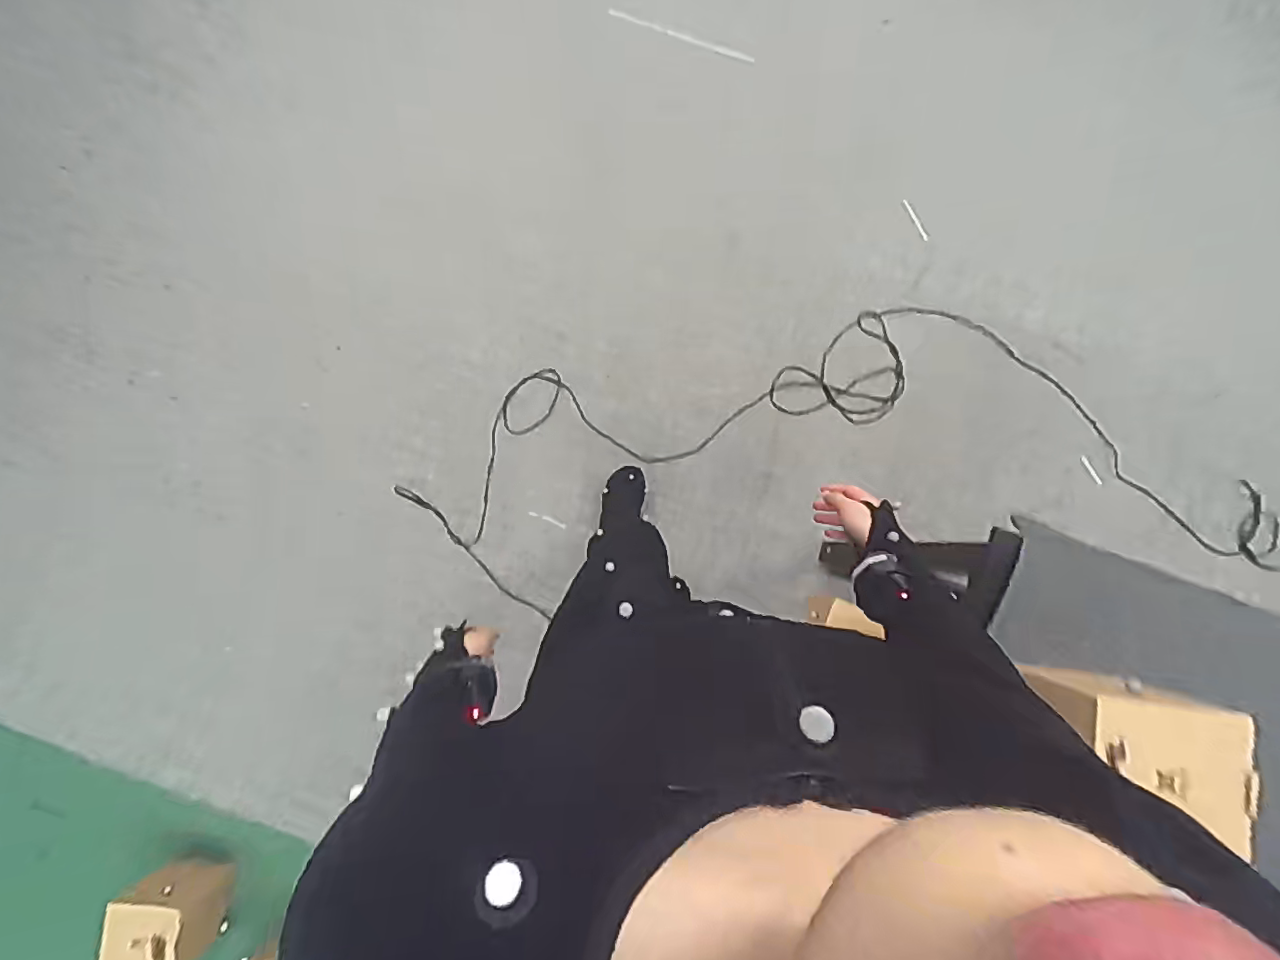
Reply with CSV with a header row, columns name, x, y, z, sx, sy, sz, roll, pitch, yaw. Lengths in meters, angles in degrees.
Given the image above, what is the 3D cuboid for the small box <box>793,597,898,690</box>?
name,x,y,z,sx,sy,sz,roll,pitch,yaw
small box,0.518,0.412,1.391,0.179,0.176,0.168,24,83,1

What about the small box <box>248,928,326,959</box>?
name,x,y,z,sx,sy,sz,roll,pitch,yaw
small box,-0.863,1.208,1.264,0.168,0.176,0.179,-35,86,-4

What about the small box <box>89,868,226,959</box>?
name,x,y,z,sx,sy,sz,roll,pitch,yaw
small box,-1.129,1.052,1.274,0.179,0.176,0.168,4,83,0

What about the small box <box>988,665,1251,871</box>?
name,x,y,z,sx,sy,sz,roll,pitch,yaw
small box,0.573,0.336,0.665,0.179,0.176,0.168,8,83,0
